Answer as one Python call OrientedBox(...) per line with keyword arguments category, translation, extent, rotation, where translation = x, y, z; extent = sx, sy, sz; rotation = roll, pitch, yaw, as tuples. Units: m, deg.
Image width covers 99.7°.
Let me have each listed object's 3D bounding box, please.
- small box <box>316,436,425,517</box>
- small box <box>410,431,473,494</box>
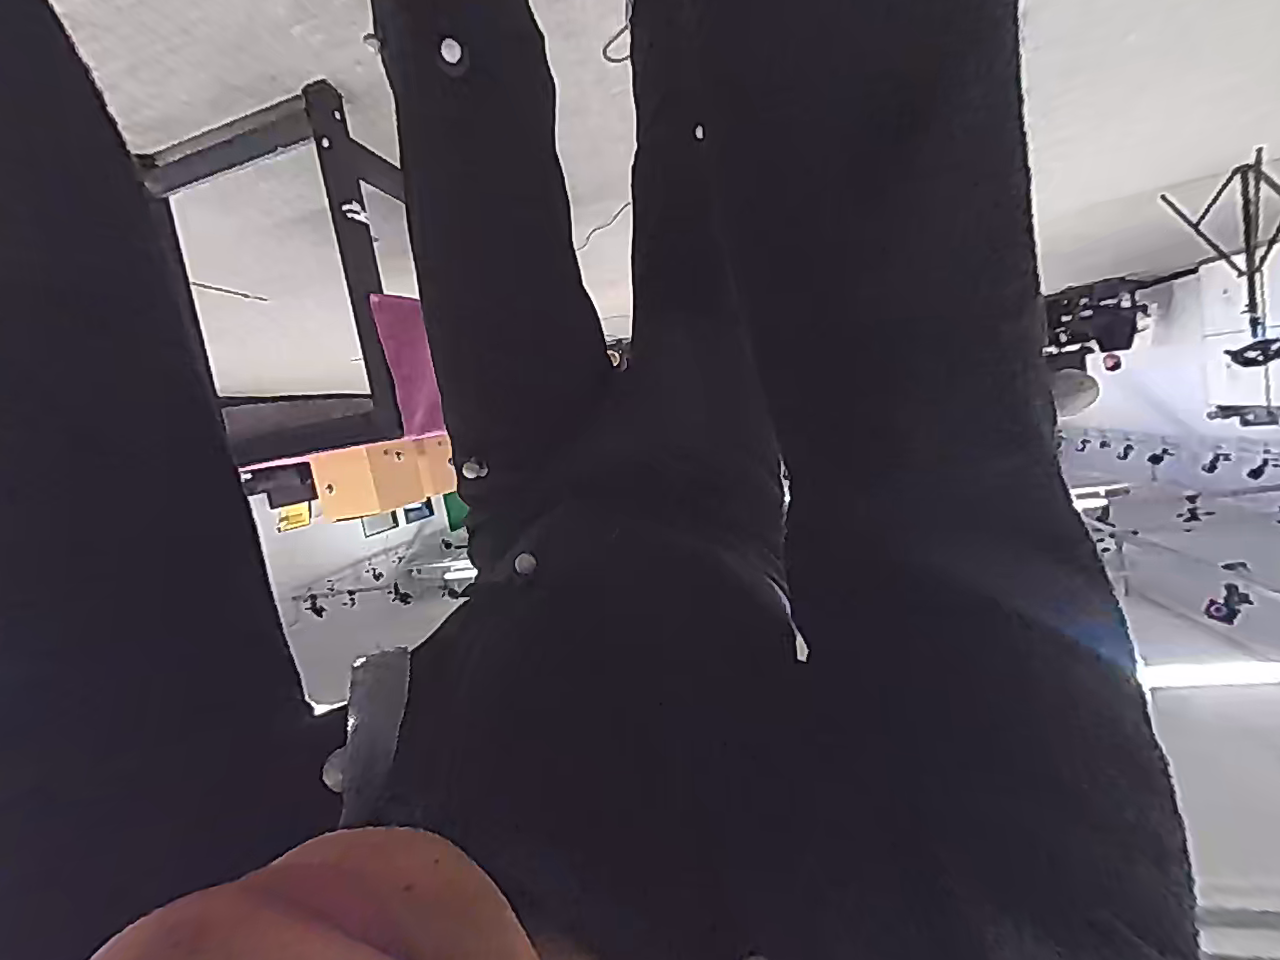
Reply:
OrientedBox(category="small box", translation=(-0.675, -0.014, 1.352), extent=(0.179, 0.176, 0.168), rotation=(-8, -172, 17))
OrientedBox(category="small box", translation=(-0.637, -0.051, 1.619), extent=(0.179, 0.176, 0.168), rotation=(-7, -173, 23))
